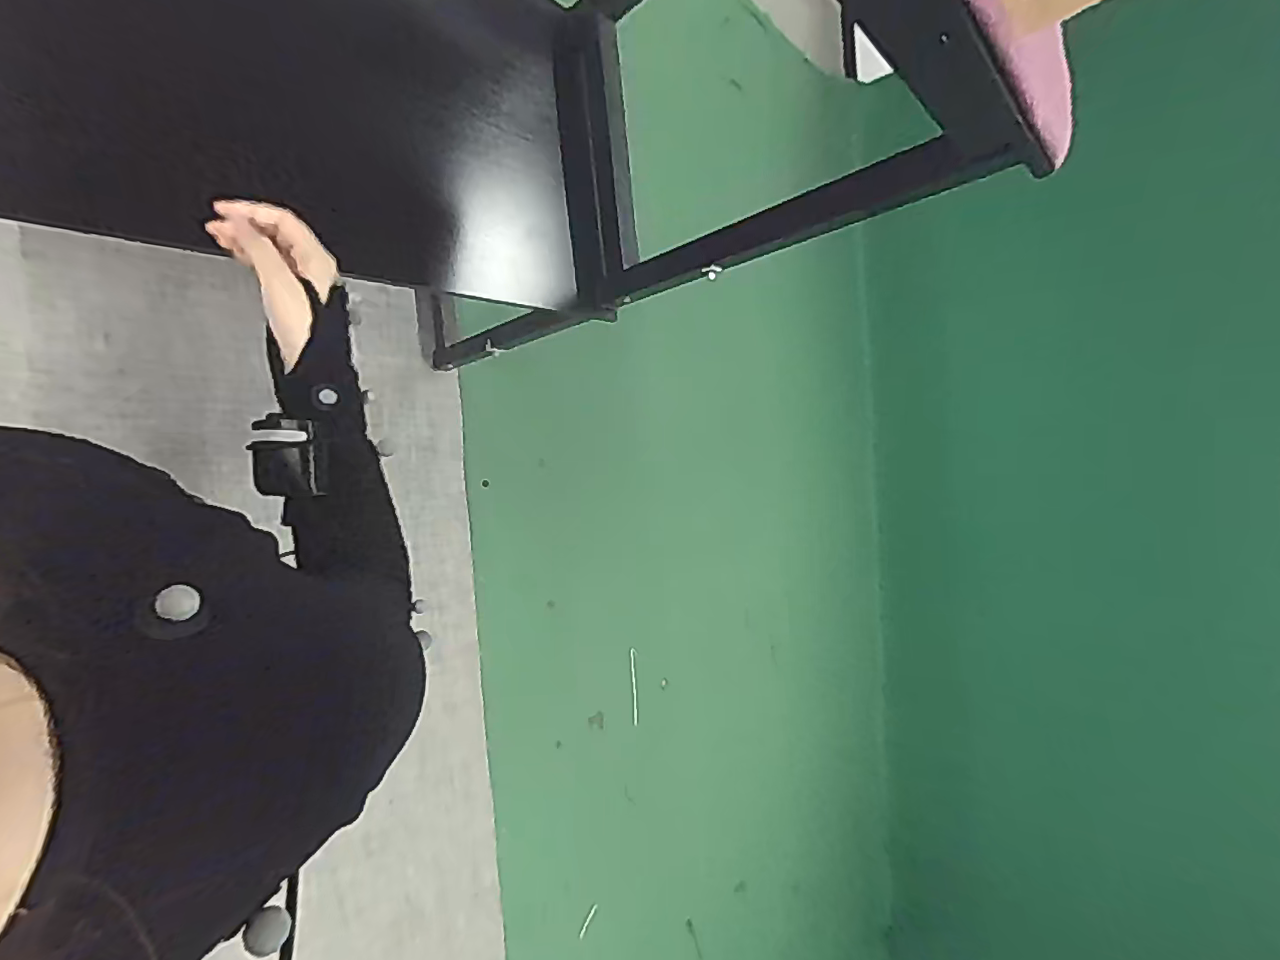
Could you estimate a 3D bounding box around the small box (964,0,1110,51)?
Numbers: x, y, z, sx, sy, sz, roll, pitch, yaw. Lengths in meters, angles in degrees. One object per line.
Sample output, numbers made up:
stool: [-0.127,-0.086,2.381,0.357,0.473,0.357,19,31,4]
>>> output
small box: [0.324,-0.472,0.384,0.168,0.176,0.179,-4,94,-46]
